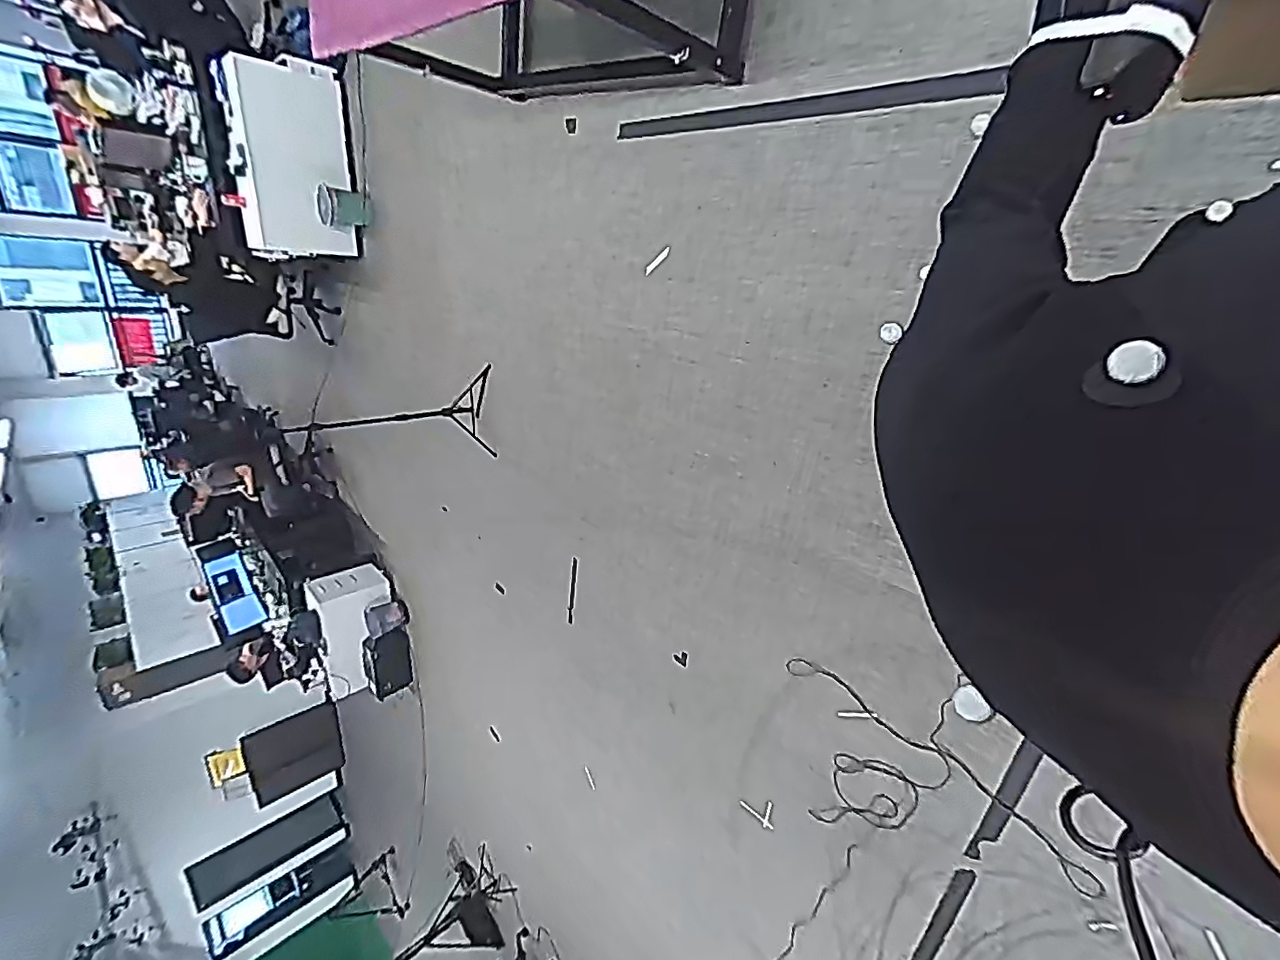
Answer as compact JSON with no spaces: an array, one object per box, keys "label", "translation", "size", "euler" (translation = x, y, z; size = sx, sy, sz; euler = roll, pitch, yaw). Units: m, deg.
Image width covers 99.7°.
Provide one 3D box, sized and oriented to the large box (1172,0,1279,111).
[{"label":"large box","translation":[0.607,-0.435,0.286],"size":[0.408,0.320,0.320],"euler":[24,119,39]}]
